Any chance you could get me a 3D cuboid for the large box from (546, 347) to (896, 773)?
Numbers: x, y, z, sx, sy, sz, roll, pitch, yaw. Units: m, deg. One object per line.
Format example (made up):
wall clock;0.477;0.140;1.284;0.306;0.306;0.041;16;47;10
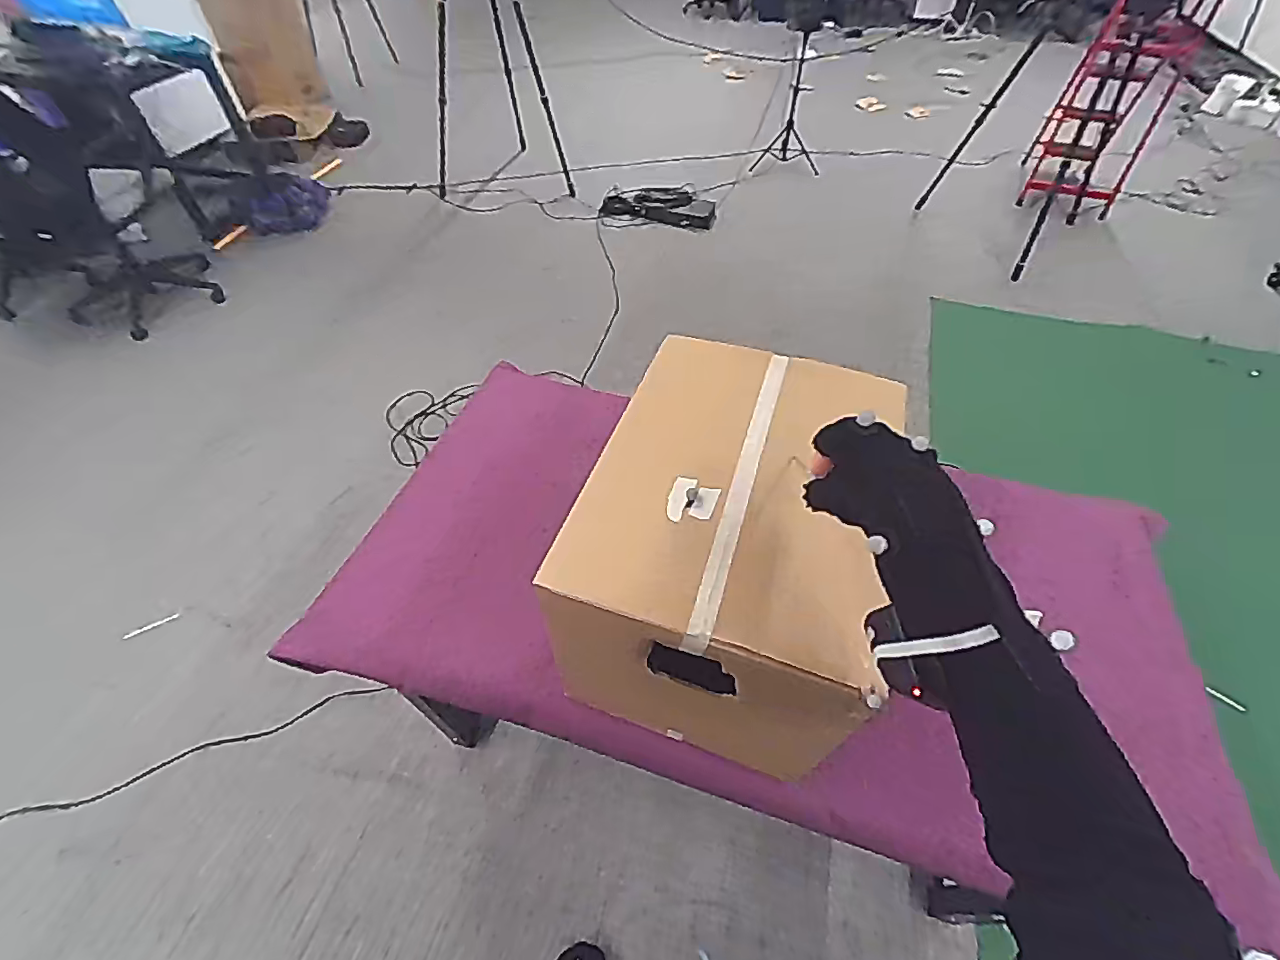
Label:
large box;0.113;0.095;0.712;0.320;0.320;0.408;16;52;12
